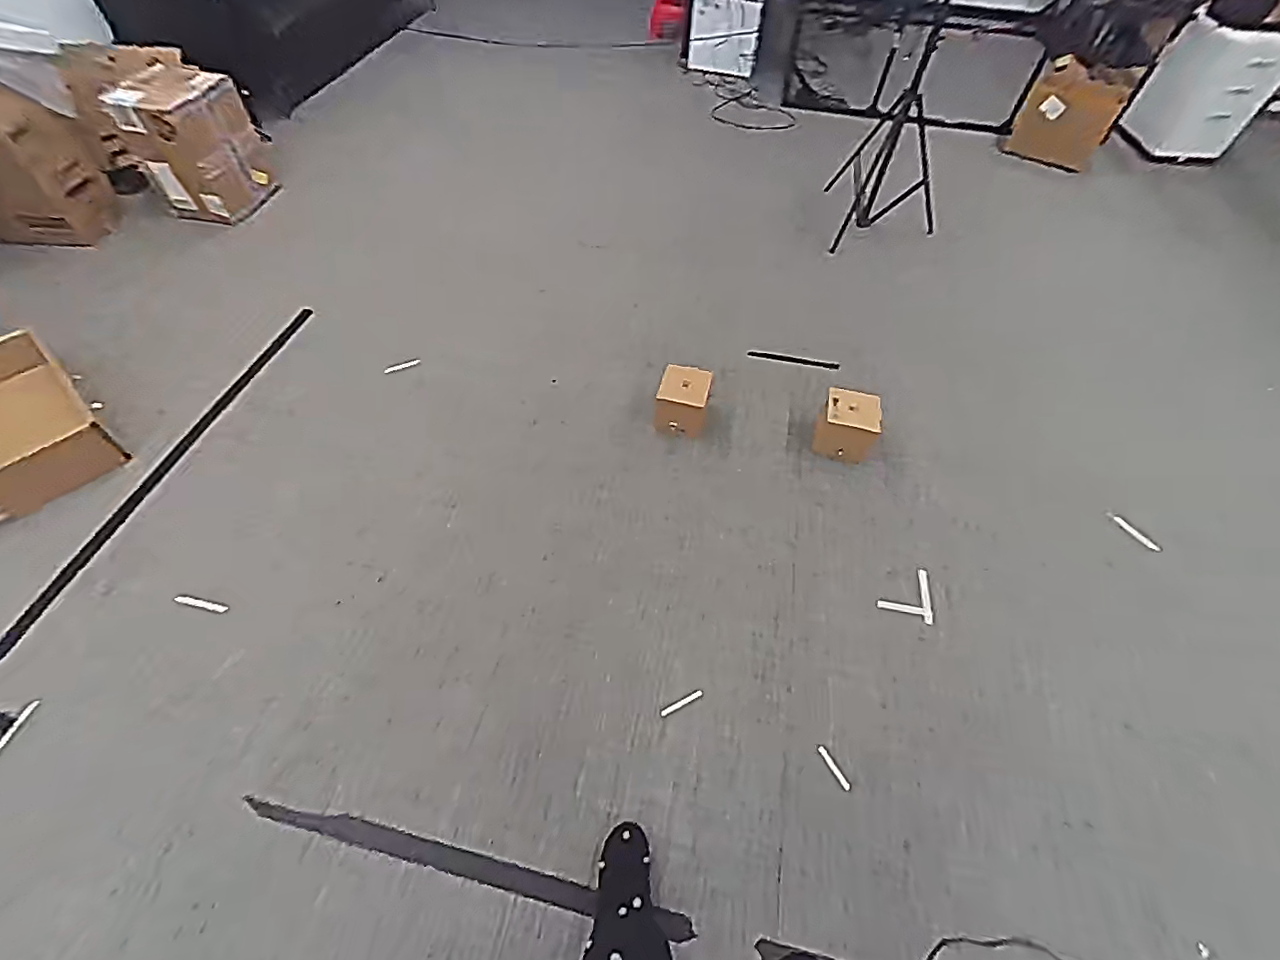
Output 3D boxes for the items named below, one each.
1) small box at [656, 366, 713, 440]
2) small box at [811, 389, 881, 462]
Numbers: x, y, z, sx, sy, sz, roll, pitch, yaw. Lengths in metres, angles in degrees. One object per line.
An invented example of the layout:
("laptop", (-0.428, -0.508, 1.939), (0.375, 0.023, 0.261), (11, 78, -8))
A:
("small box", (0.155, -0.272, 1.911), (0.168, 0.176, 0.179), (12, 56, 9))
("small box", (0.709, -0.182, 1.865), (0.179, 0.176, 0.168), (14, 56, 6))
